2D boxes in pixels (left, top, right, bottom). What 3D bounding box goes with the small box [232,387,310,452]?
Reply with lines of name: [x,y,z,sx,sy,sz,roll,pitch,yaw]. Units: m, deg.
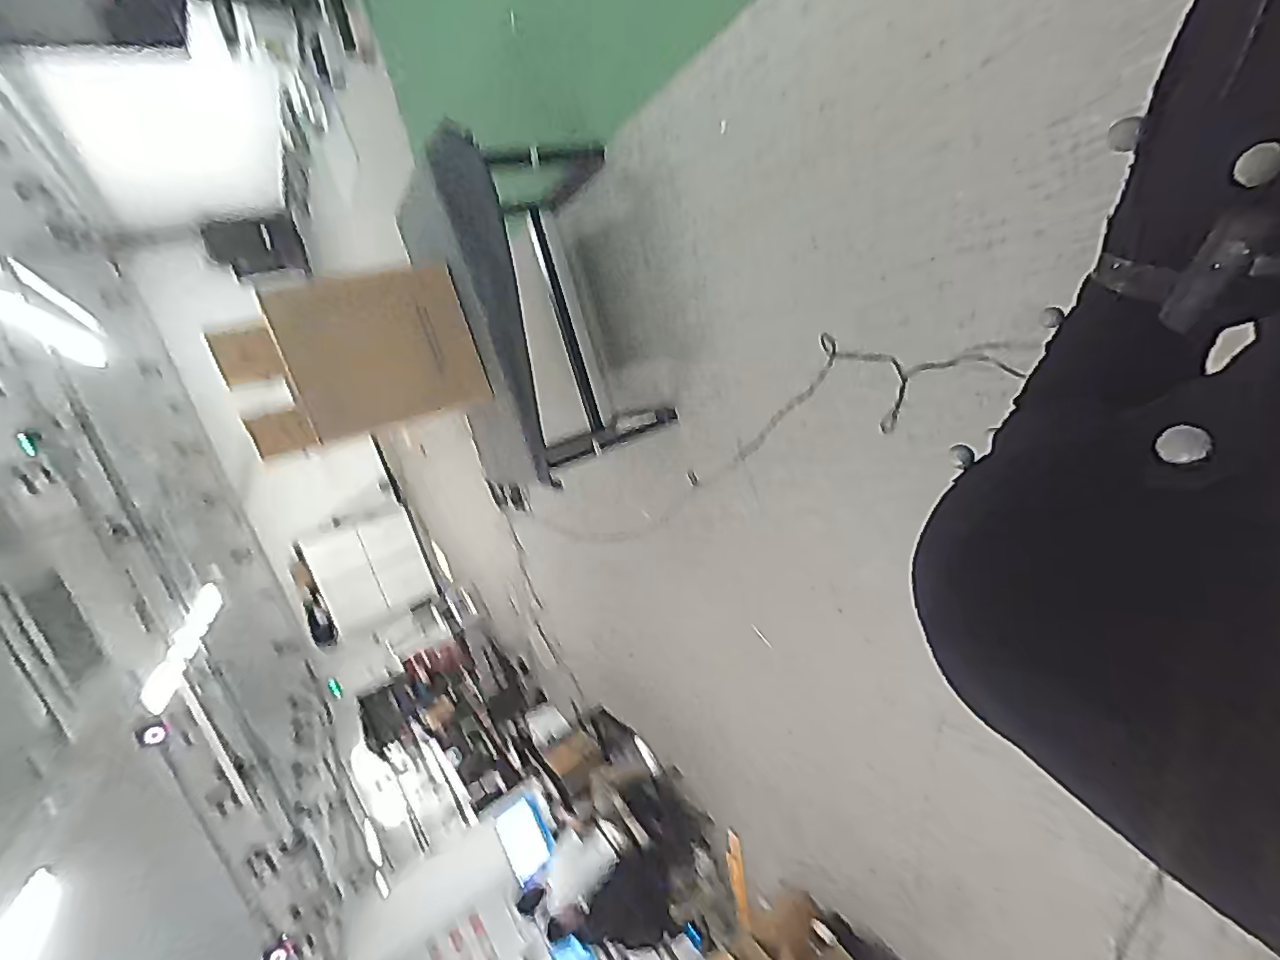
small box: [-1.222,-0.201,1.796,0.179,0.176,0.168,0,111,55]

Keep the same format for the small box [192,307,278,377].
small box: [-1.302,-0.448,1.745,0.168,0.176,0.179,1,112,55]
